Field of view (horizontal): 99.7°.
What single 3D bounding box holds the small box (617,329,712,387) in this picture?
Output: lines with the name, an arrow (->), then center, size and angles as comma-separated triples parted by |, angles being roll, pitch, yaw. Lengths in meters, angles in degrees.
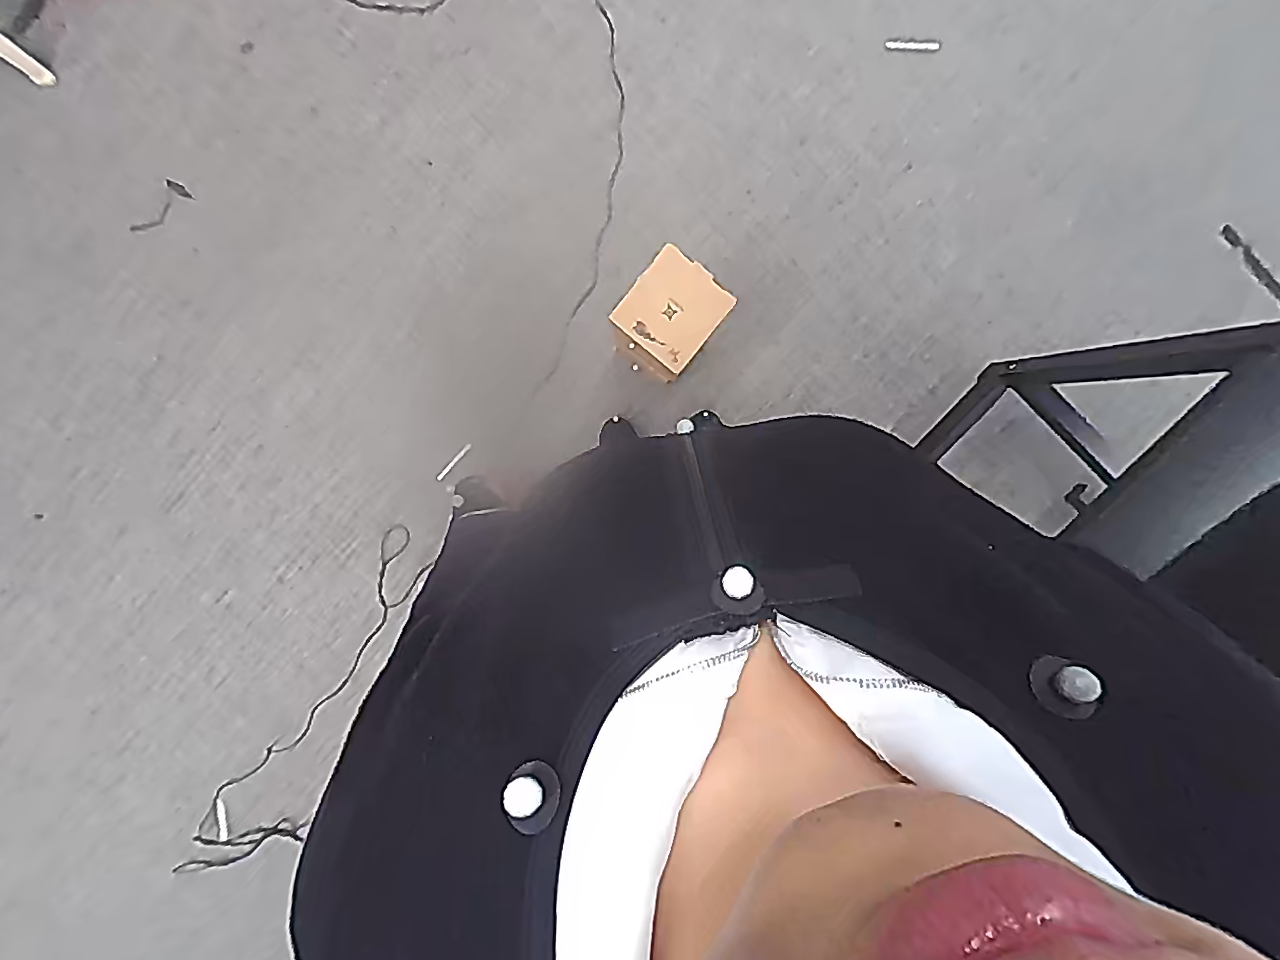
small box -> 0.057, -0.357, 1.383 | 0.168, 0.176, 0.179 | 39, 96, -4

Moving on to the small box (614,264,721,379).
small box -> 0.059, -0.346, 1.222 | 0.168, 0.176, 0.179 | 36, 94, -4
